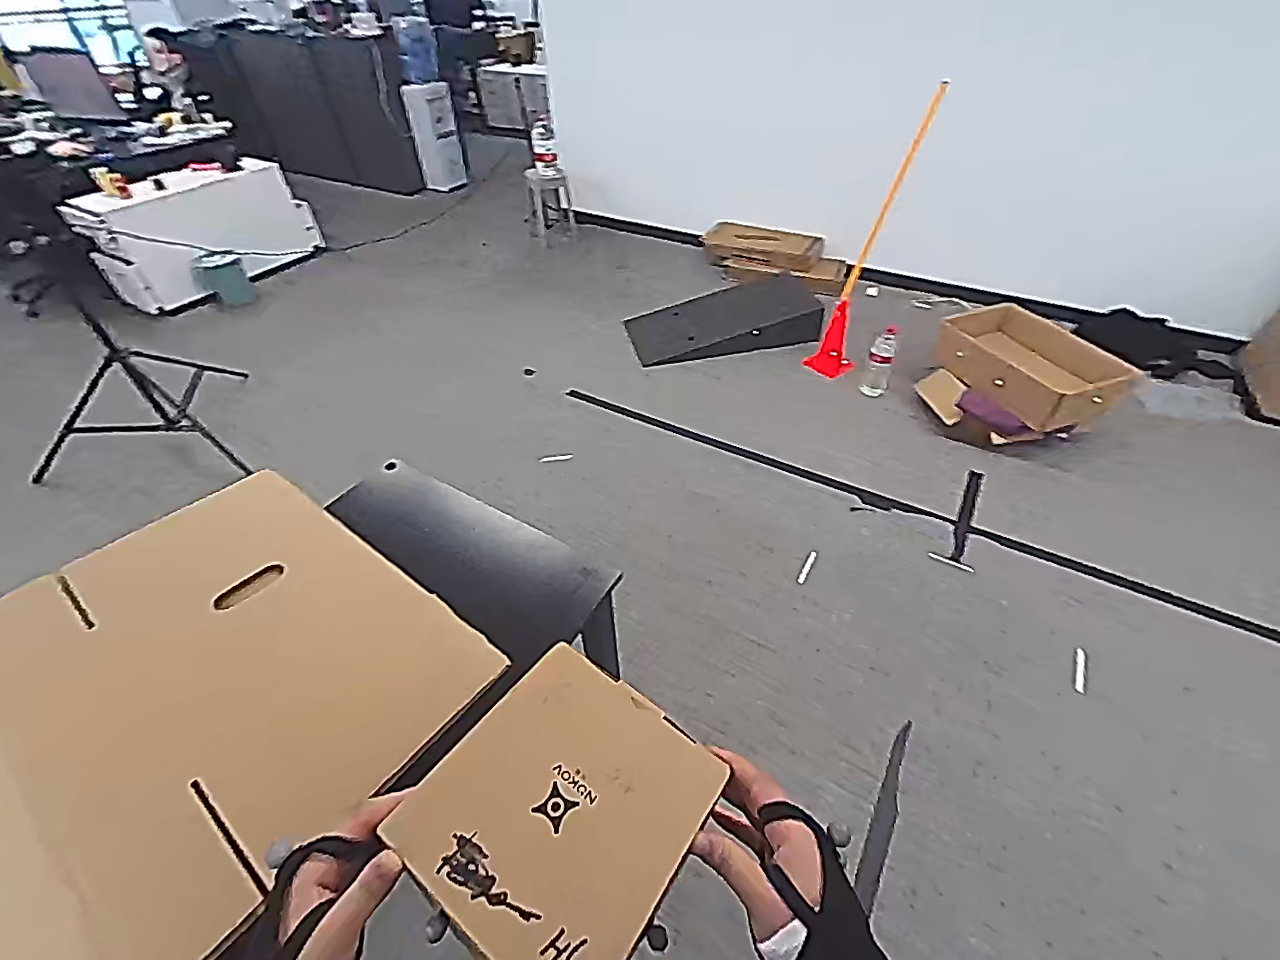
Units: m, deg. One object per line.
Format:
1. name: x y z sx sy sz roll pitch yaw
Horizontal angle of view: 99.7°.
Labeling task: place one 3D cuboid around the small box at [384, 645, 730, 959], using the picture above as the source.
1. small box: -0.056 0.272 0.412 0.168 0.176 0.179 27 44 24
